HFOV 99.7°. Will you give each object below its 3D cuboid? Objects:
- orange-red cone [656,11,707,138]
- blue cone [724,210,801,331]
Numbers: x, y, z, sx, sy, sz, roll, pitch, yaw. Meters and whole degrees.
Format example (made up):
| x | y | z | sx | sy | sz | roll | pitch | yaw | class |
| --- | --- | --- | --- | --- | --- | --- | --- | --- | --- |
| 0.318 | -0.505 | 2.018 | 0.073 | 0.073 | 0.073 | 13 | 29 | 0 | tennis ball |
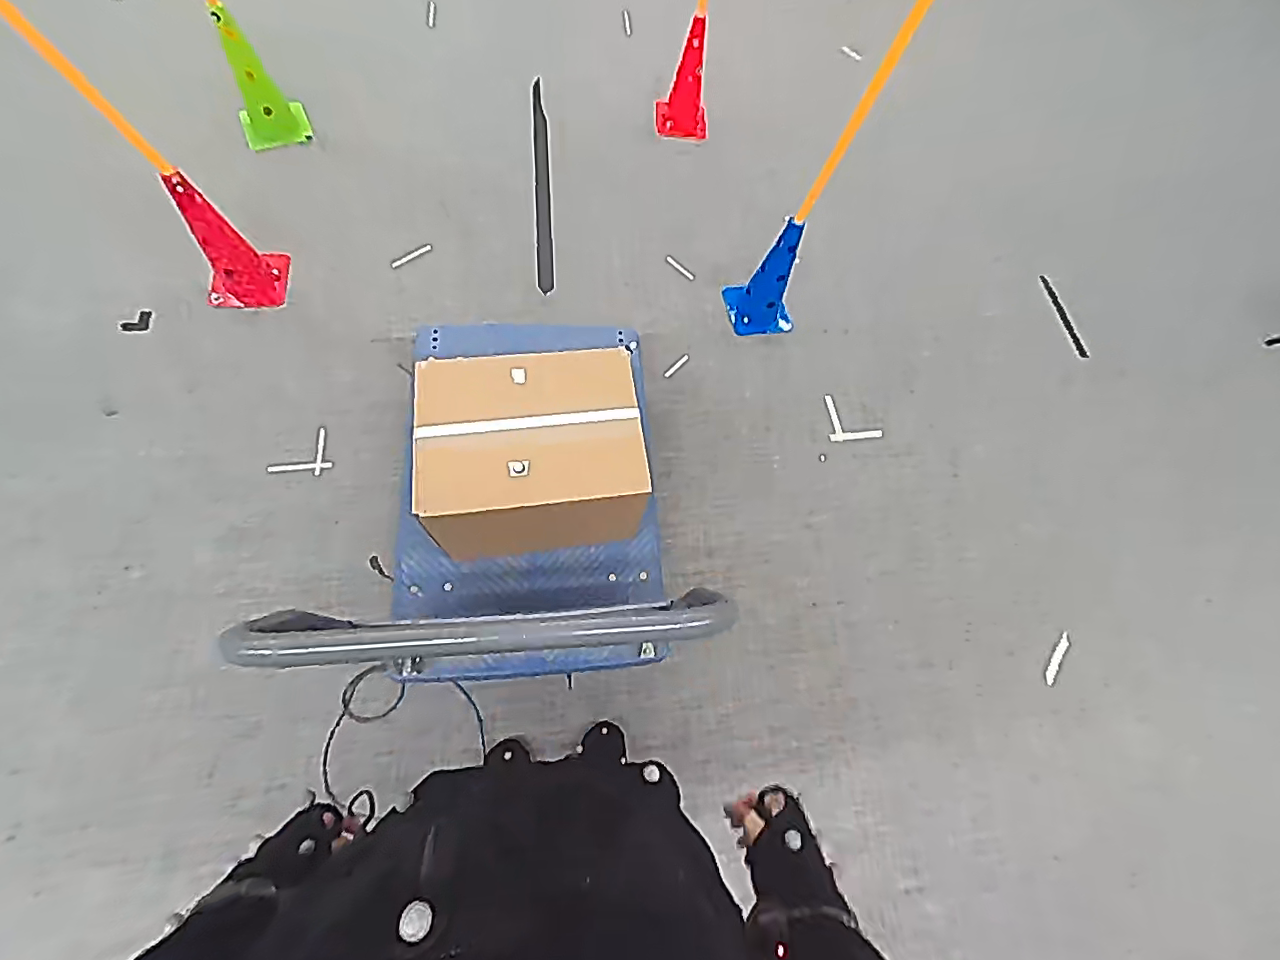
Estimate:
| x | y | z | sx | sy | sz | roll | pitch | yaw | class |
| --- | --- | --- | --- | --- | --- | --- | --- | --- | --- |
| 0.182 | -1.466 | 1.937 | 0.199 | 0.360 | 0.198 | 3 | 68 | -7 | orange-red cone |
| 0.403 | -0.637 | 1.632 | 0.193 | 0.380 | 0.192 | -7 | 67 | -11 | blue cone |
